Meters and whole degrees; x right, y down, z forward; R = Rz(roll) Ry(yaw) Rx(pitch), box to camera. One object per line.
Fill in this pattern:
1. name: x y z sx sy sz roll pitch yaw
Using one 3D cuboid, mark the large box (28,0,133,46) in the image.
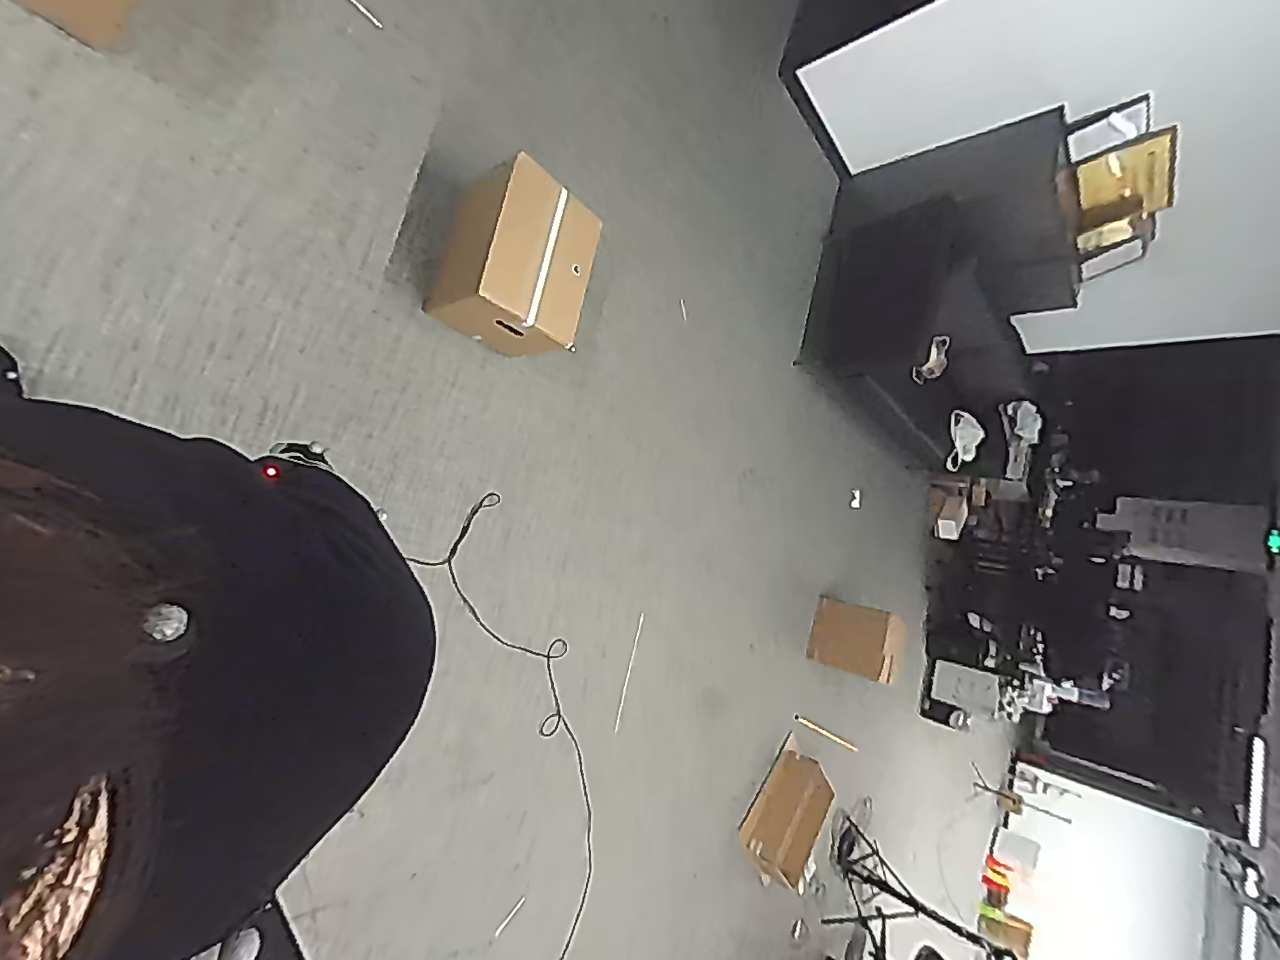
1. large box: -0.987 -1.055 0.869 0.320 0.320 0.408 21 78 -45
